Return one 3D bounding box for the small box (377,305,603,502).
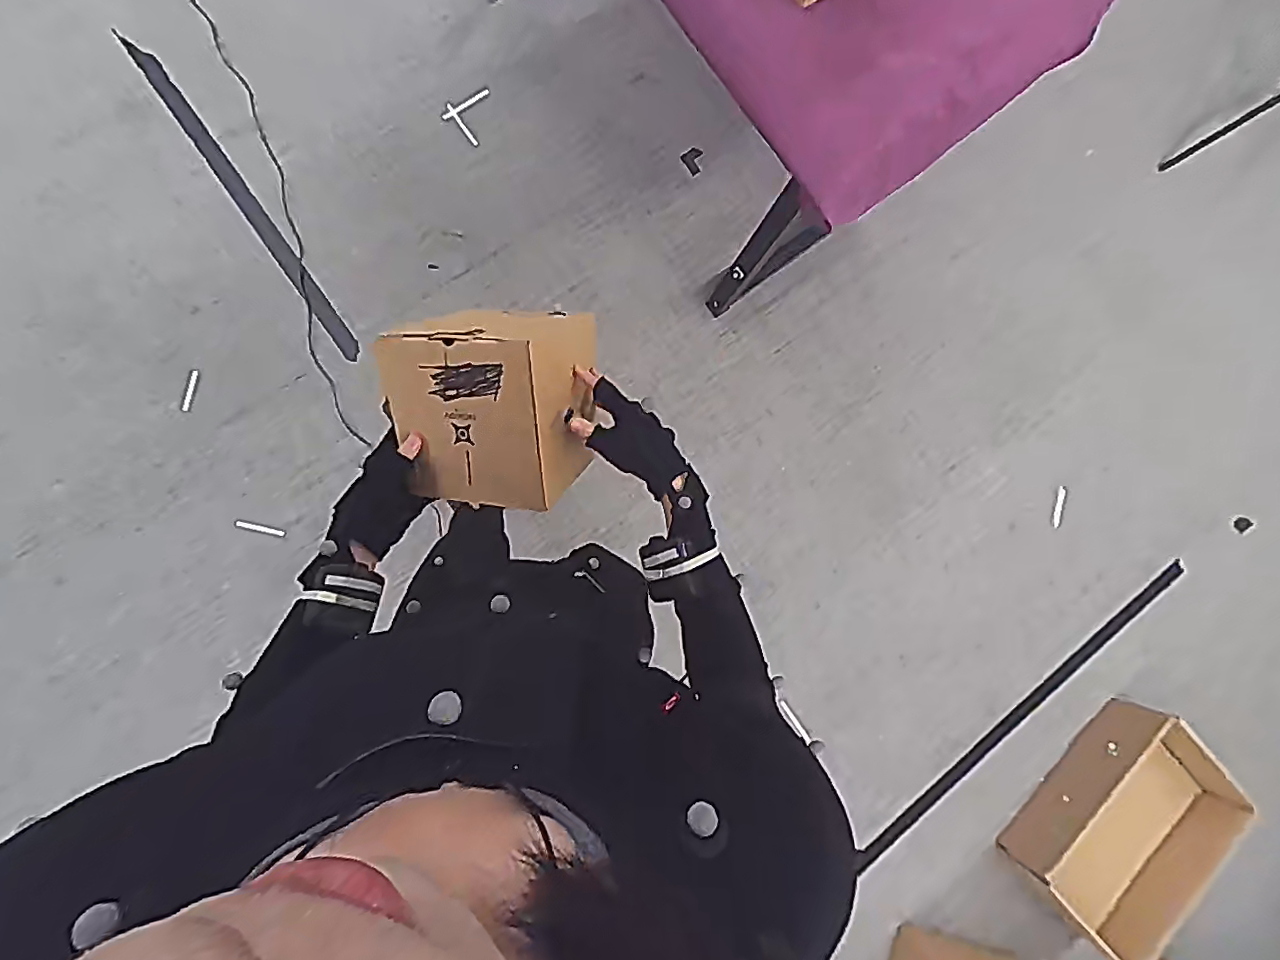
[{"bbox_3d":[-0.147,-0.095,0.593,0.168,0.176,0.179,5,115,16],"label":"small box"}]
